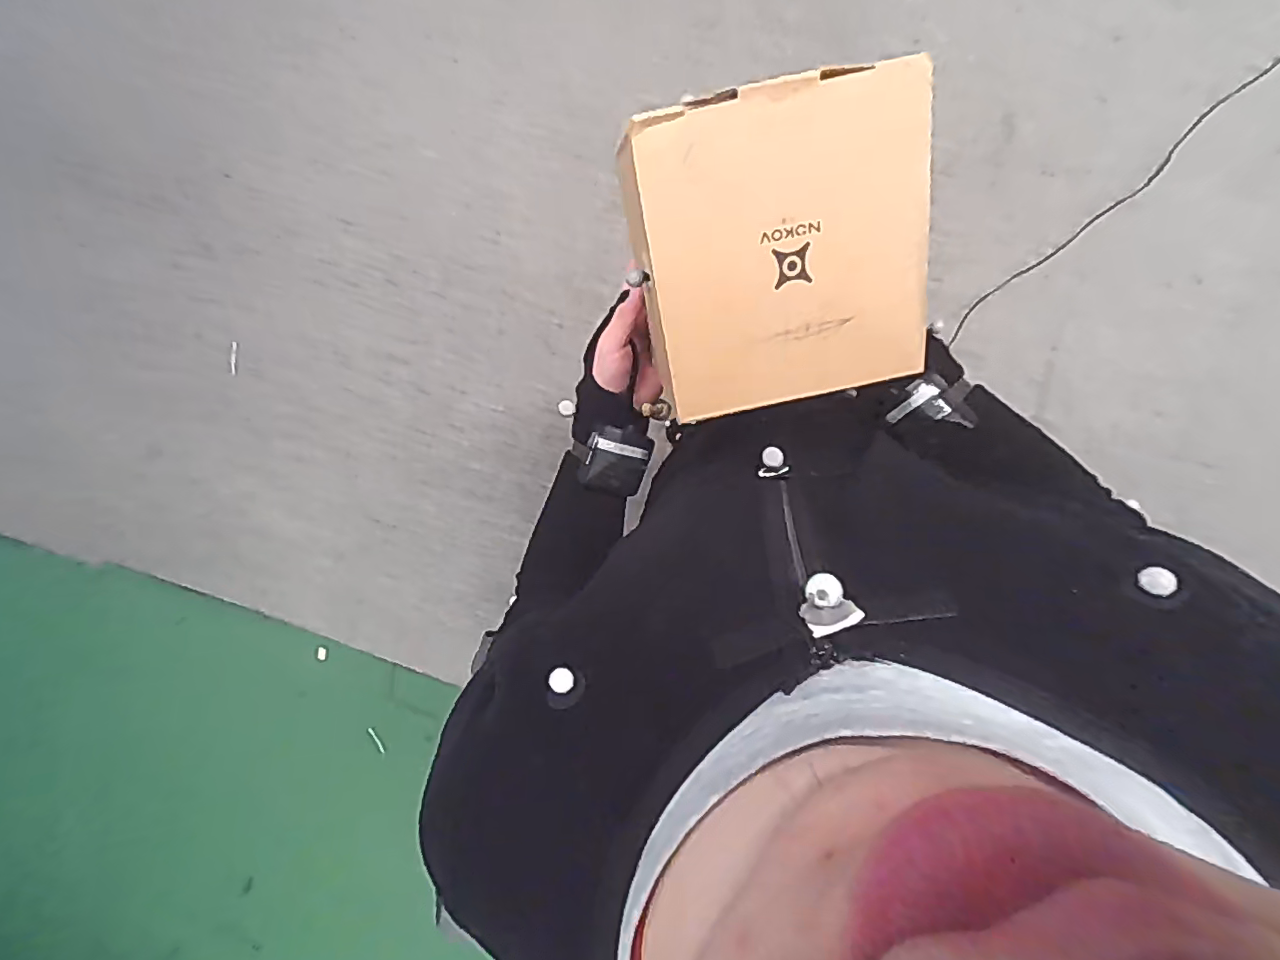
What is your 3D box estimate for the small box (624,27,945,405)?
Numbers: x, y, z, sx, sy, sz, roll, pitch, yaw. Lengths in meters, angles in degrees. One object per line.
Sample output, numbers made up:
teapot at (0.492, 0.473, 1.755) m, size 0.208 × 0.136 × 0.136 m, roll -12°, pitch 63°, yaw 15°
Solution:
small box at (0.087, -0.173, 0.386) m, size 0.168 × 0.176 × 0.179 m, roll -12°, pitch 116°, yaw 1°
